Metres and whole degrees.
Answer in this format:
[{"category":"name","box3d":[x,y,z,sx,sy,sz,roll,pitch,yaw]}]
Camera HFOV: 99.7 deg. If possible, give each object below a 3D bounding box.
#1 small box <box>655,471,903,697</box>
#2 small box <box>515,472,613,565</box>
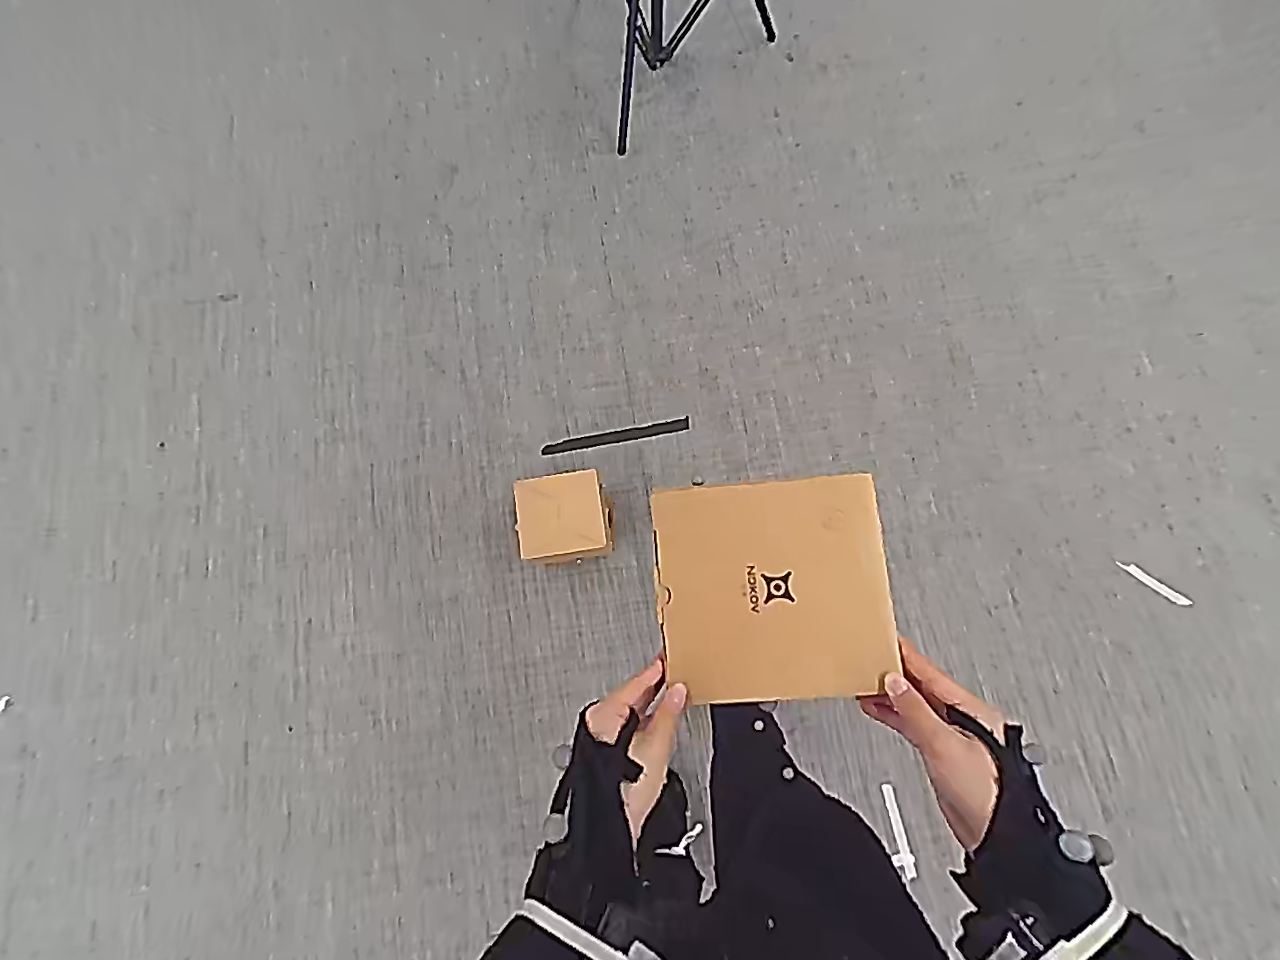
[{"category":"small box","box3d":[0.110,0.090,0.495,0.179,0.176,0.168,-5,81,5]},{"category":"small box","box3d":[-0.161,0.087,1.180,0.179,0.176,0.168,-8,77,-1]}]
